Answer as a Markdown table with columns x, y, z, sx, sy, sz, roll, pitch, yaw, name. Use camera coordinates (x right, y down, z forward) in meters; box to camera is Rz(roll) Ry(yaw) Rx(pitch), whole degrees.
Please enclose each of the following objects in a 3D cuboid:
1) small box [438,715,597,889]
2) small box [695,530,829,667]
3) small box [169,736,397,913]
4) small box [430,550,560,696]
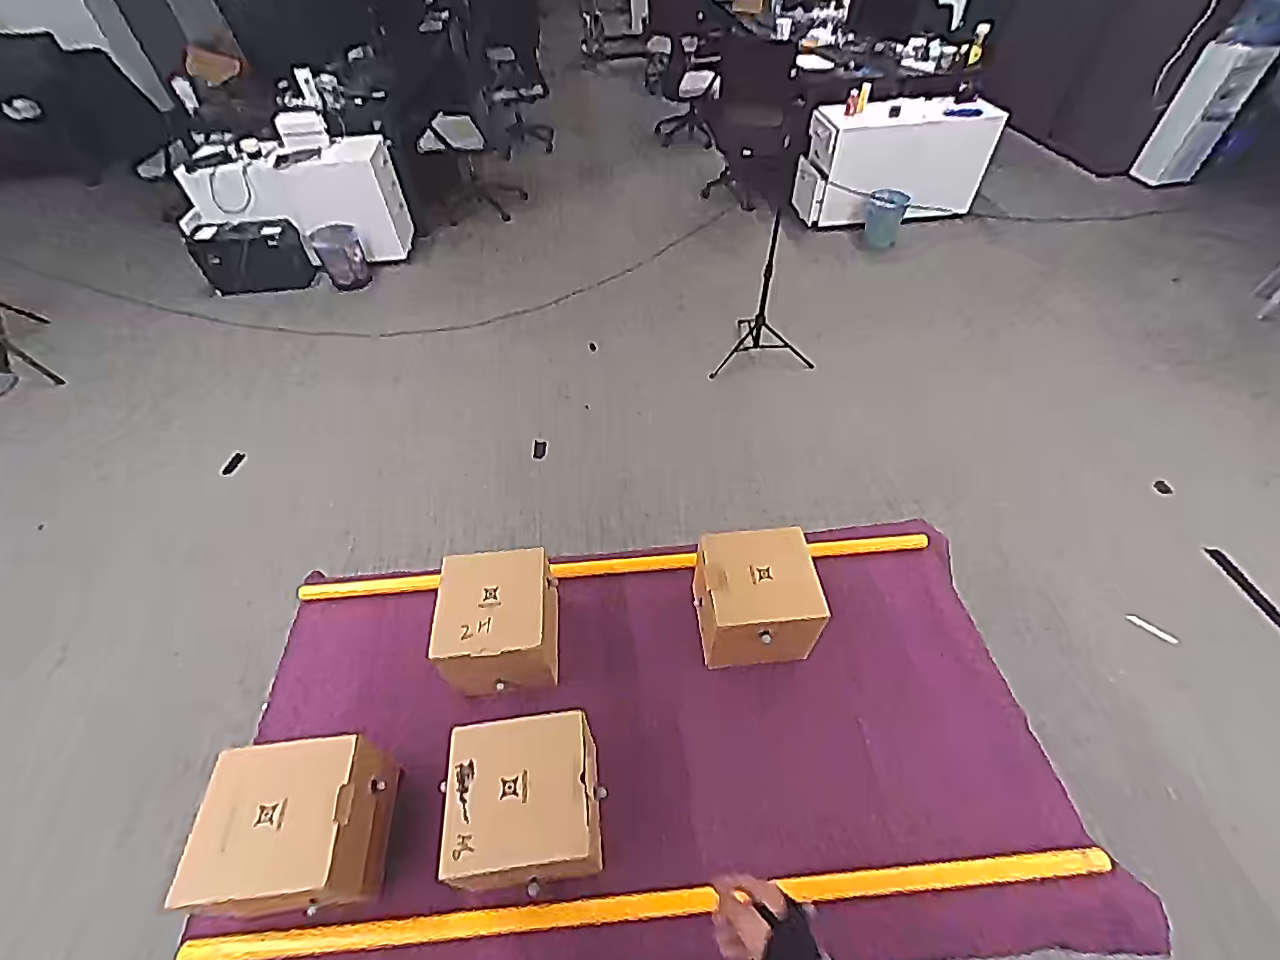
| x | y | z | sx | sy | sz | roll | pitch | yaw | name |
| --- | --- | --- | --- | --- | --- | --- | --- | --- | --- |
| -0.149 | 0.433 | 0.726 | 0.179 | 0.176 | 0.168 | -5 | 49 | -3 | small box |
| 0.193 | 0.203 | 0.916 | 0.179 | 0.176 | 0.168 | -5 | 50 | -2 | small box |
| -0.443 | 0.456 | 0.714 | 0.179 | 0.176 | 0.168 | -4 | 48 | -5 | small box |
| -0.228 | 0.238 | 0.898 | 0.168 | 0.176 | 0.179 | -5 | 51 | -2 | small box |
